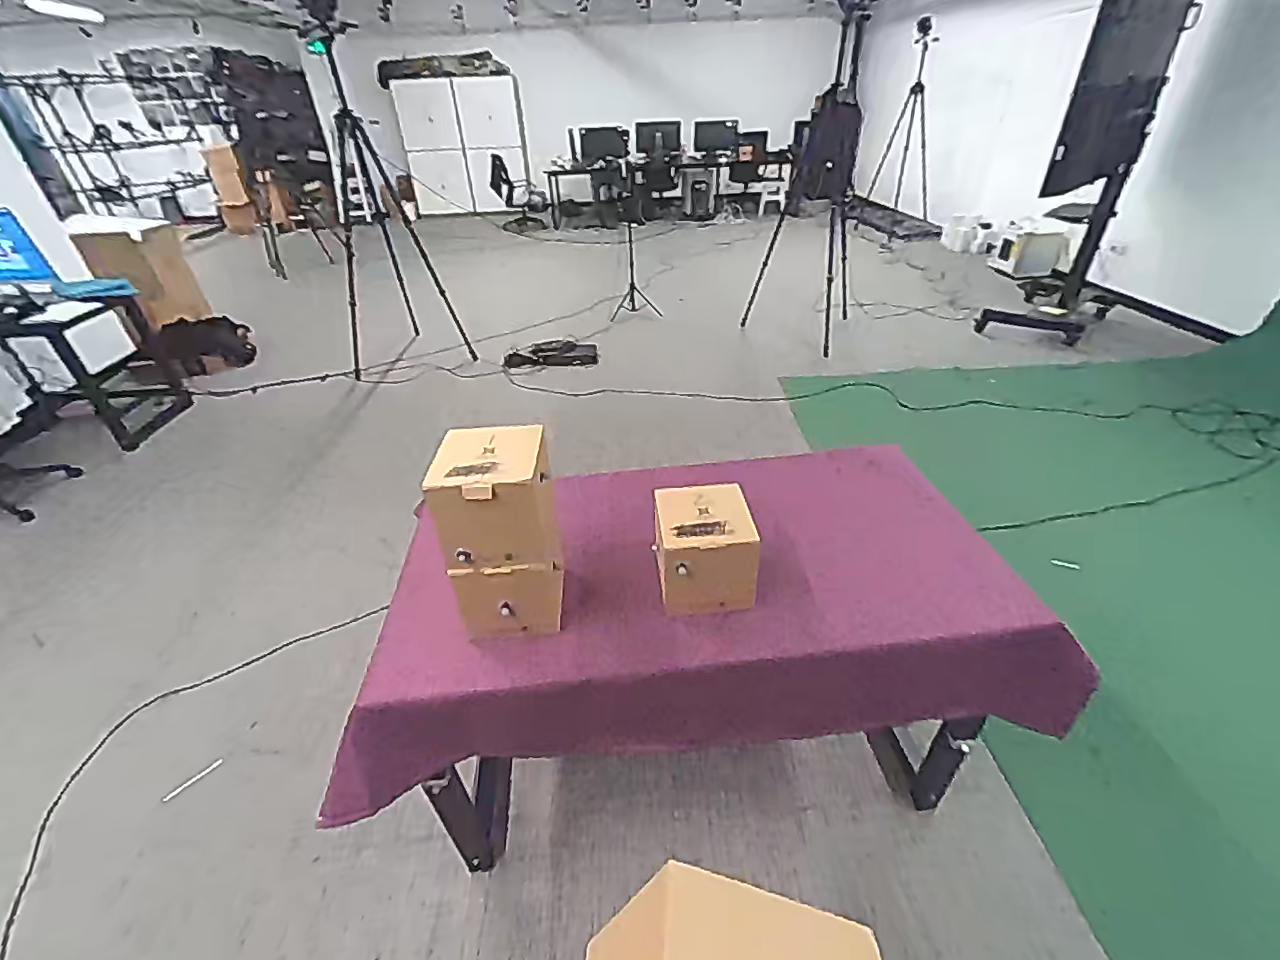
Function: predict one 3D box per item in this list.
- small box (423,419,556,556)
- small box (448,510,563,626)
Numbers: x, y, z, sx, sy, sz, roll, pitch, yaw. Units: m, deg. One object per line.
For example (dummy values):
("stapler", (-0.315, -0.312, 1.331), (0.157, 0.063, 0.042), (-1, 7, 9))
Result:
("small box", (-0.237, 0.015, 0.904), (0.168, 0.176, 0.179), (-3, 35, -1))
("small box", (-0.234, 0.154, 0.993), (0.168, 0.176, 0.179), (-2, 36, -2))
